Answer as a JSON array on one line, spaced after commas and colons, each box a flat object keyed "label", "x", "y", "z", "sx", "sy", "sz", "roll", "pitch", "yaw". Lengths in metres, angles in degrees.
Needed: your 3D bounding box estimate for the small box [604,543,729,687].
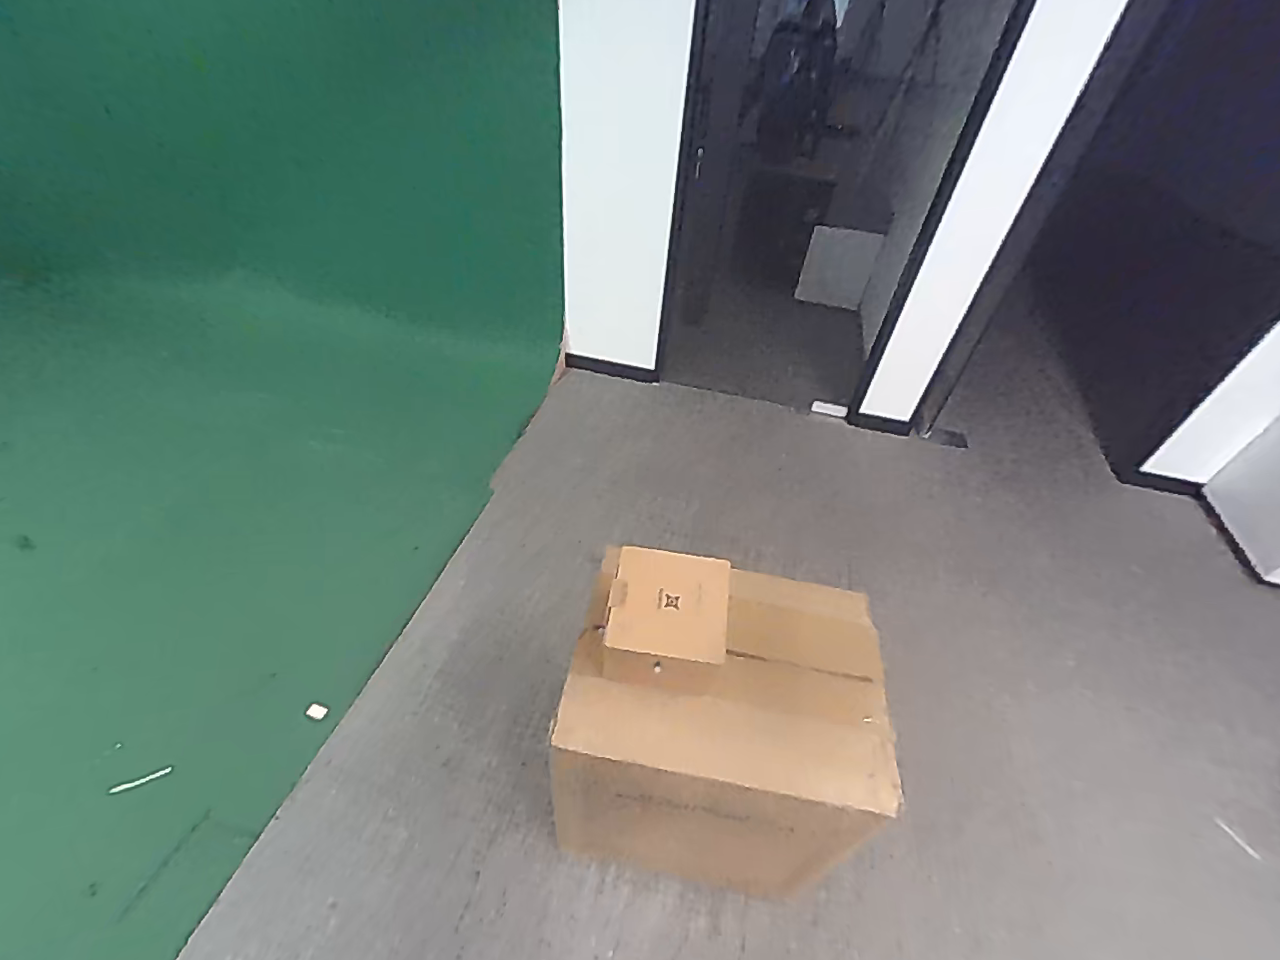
[{"label": "small box", "x": 0.040, "y": 0.224, "z": 0.877, "sx": 0.179, "sy": 0.176, "sz": 0.168, "roll": 9, "pitch": 55, "yaw": 1}]
